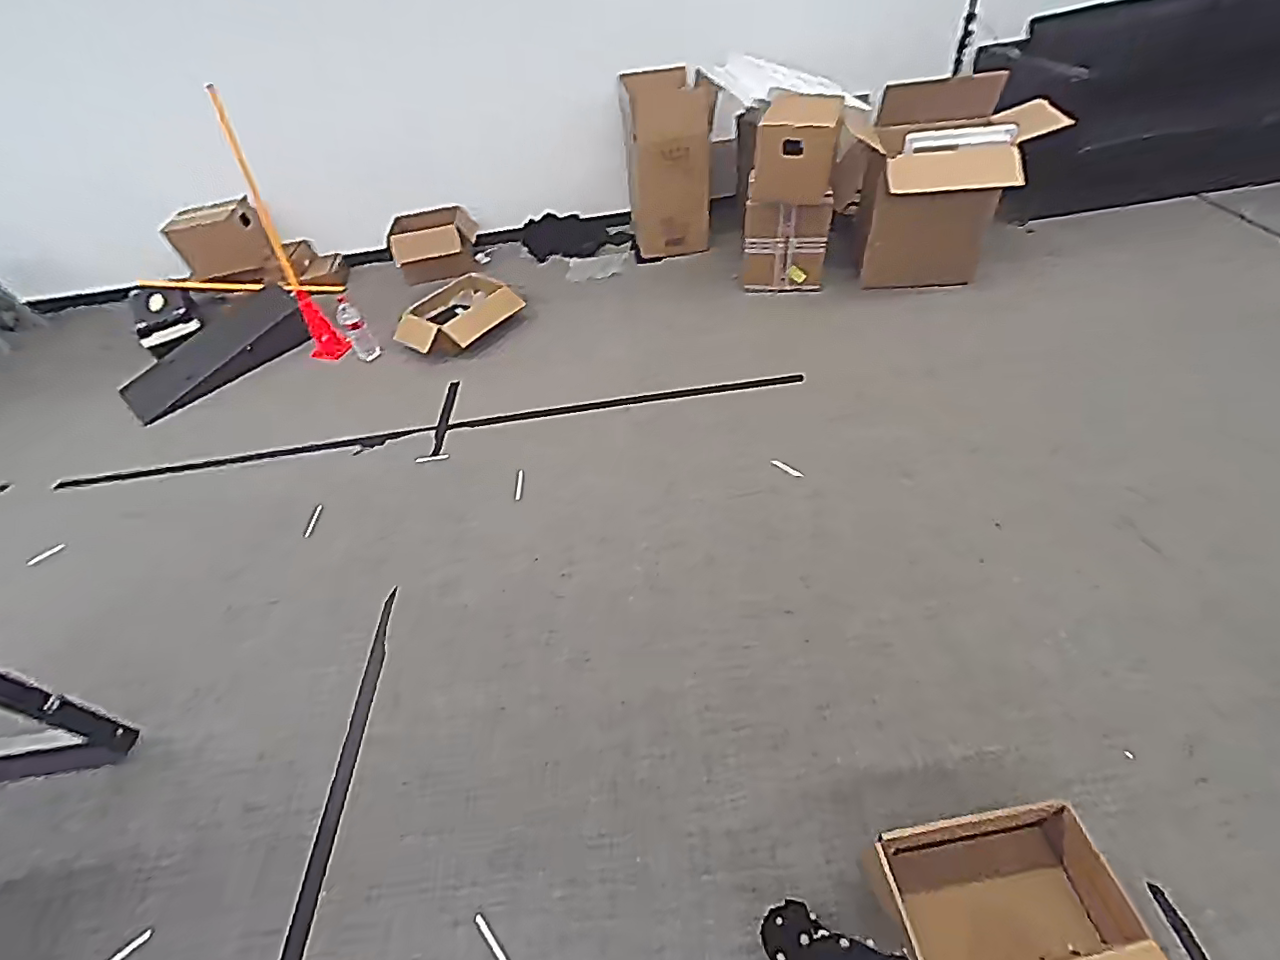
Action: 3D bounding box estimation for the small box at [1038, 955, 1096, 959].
[{"bbox_3d":[0.695,0.922,0.904,0.179,0.176,0.168,-11,46,-3],"label":"small box"}]
